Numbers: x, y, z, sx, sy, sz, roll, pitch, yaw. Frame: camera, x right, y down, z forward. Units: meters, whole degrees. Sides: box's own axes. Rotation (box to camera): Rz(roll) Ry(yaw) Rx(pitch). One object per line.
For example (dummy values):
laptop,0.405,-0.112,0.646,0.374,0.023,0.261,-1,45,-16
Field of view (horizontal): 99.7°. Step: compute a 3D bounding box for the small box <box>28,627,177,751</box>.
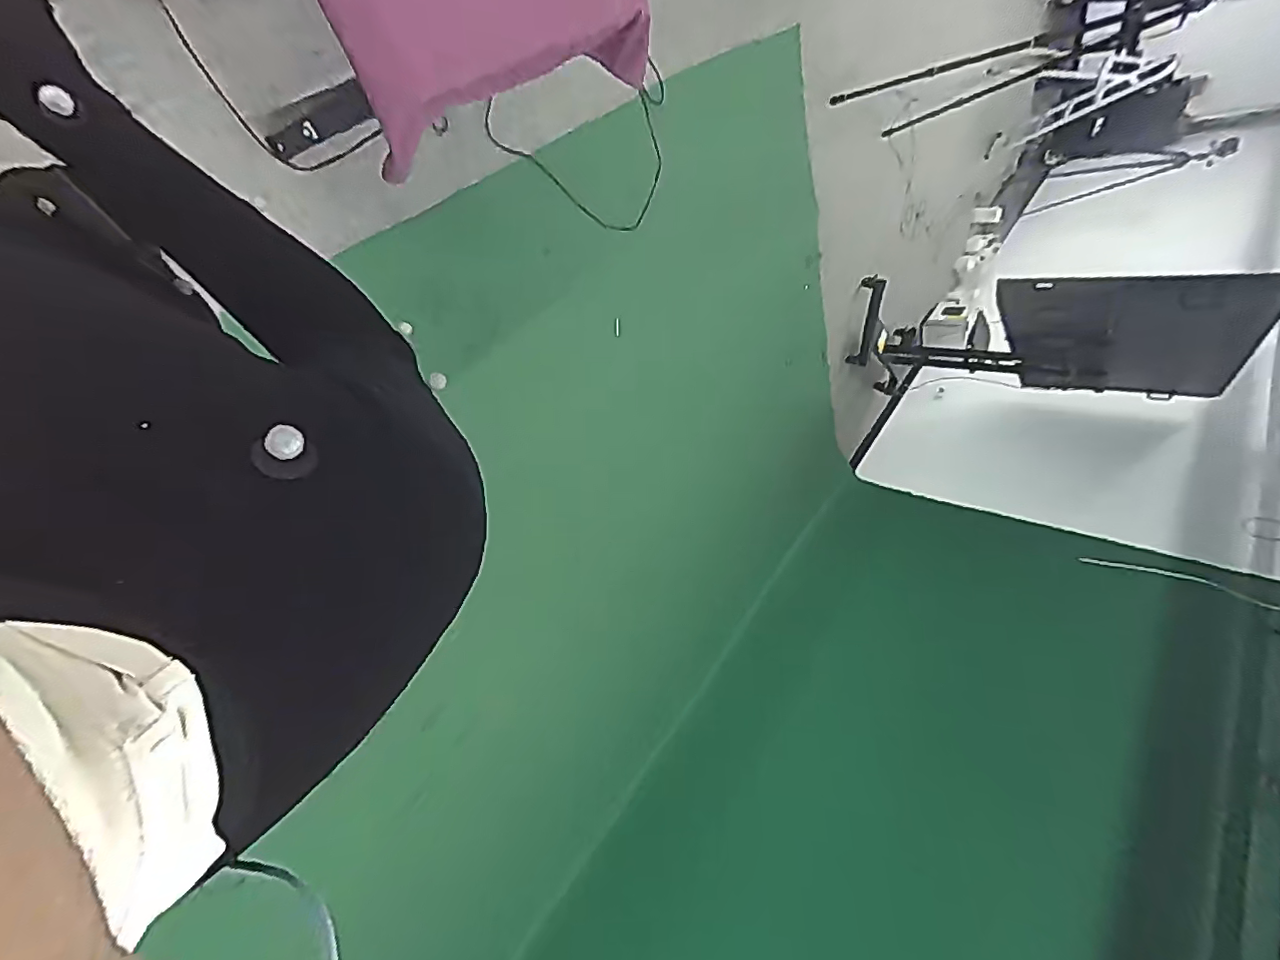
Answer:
small box,-1.209,0.463,1.222,0.168,0.176,0.179,-46,133,-29
